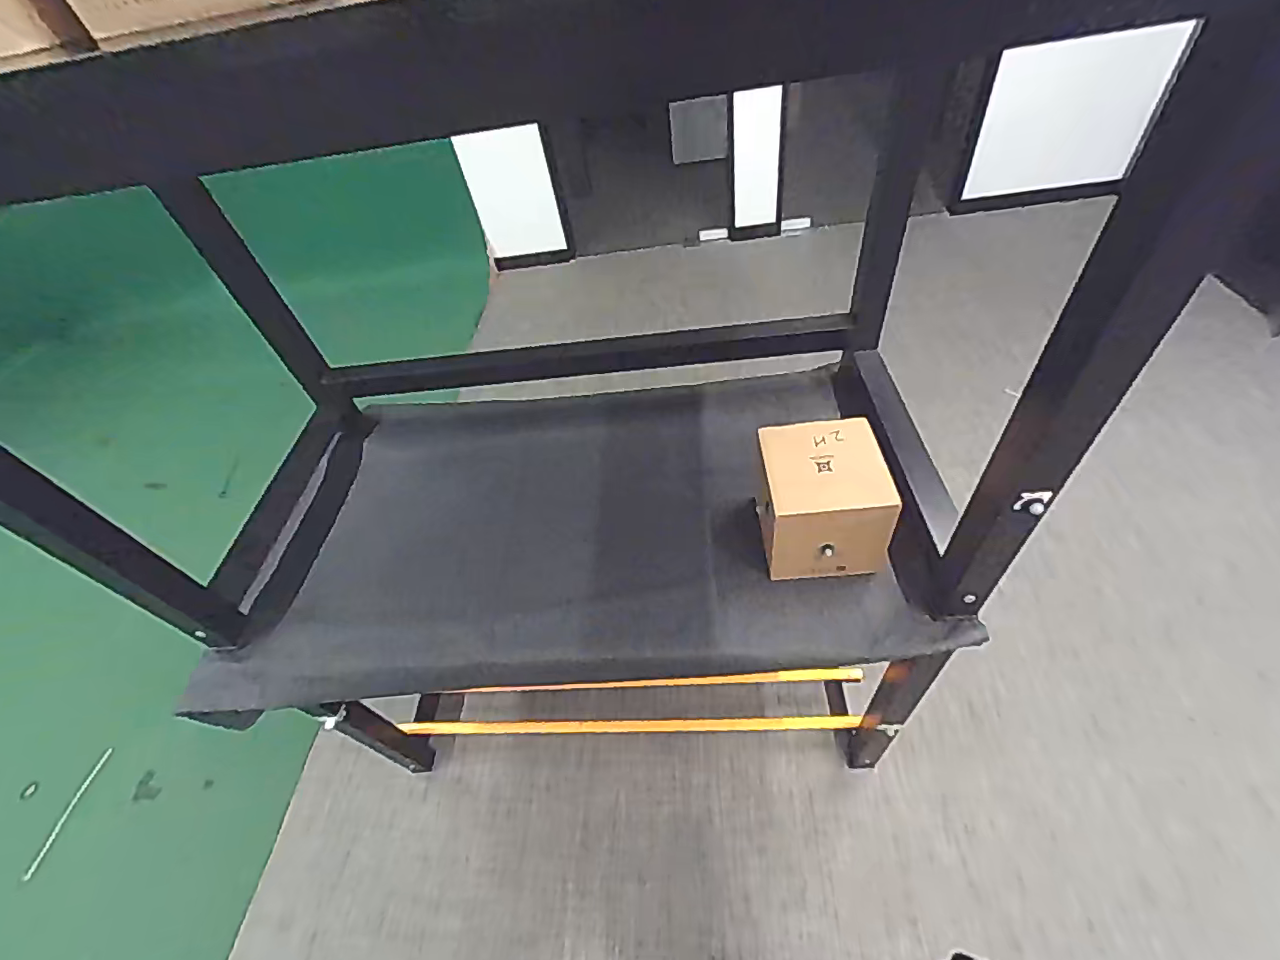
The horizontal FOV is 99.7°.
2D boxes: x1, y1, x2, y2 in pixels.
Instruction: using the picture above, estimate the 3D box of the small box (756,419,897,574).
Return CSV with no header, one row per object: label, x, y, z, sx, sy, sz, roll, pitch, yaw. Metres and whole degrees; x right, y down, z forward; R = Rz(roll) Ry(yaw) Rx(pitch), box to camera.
small box,0.273,0.032,0.833,0.168,0.176,0.179,-5,47,6
